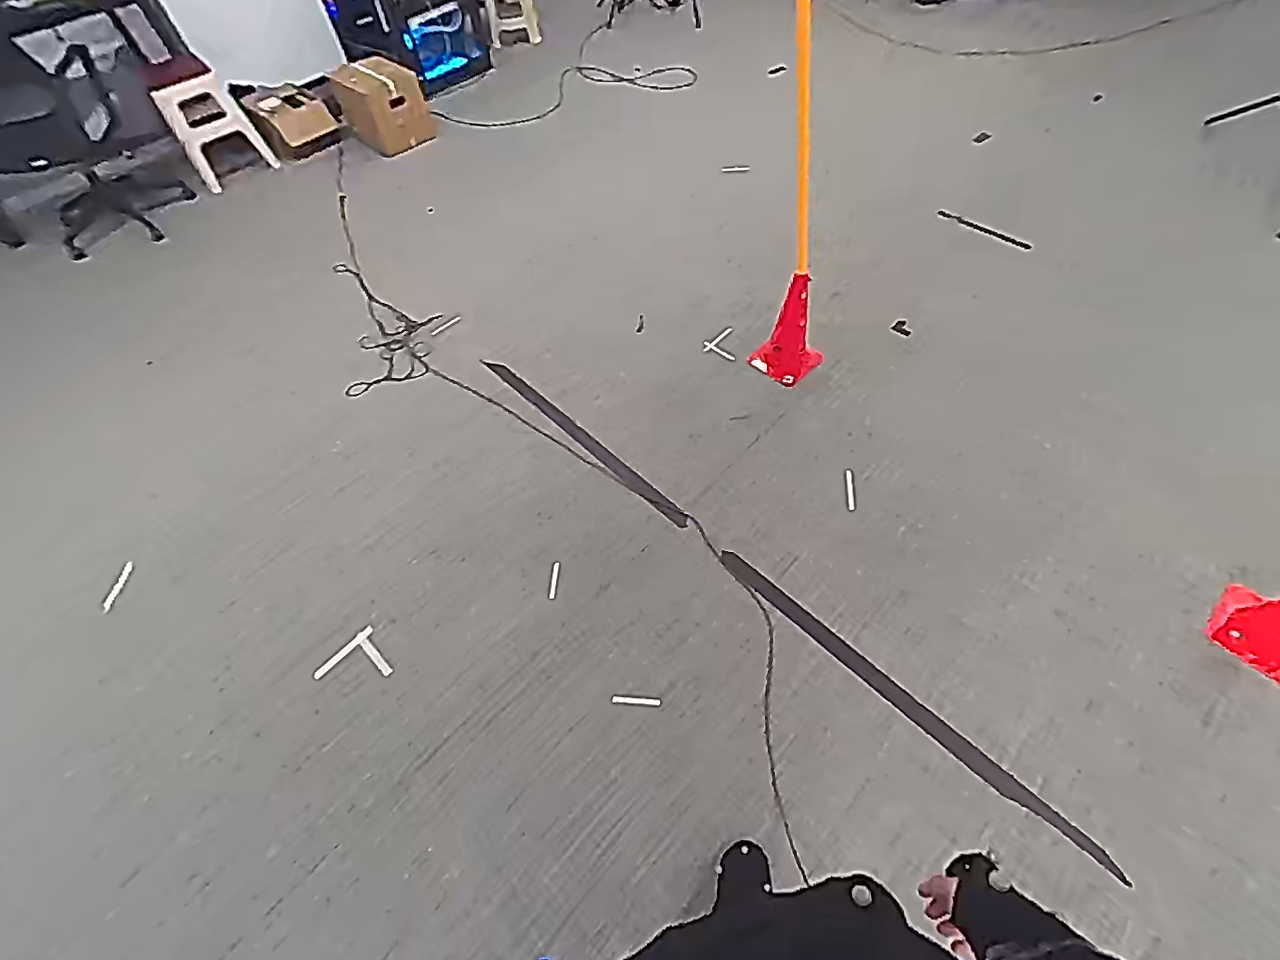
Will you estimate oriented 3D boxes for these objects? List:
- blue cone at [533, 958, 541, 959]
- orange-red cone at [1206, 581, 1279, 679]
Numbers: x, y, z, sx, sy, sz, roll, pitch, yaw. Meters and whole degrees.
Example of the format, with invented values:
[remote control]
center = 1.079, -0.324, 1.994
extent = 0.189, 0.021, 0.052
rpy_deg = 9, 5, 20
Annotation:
[blue cone]
center = -0.216, 0.955, 0.863
extent = 0.193, 0.380, 0.192
rpy_deg = -38, 61, -19
[orange-red cone]
center = 1.475, 0.266, 1.138
extent = 0.198, 0.360, 0.199
rpy_deg = -38, 62, -18
